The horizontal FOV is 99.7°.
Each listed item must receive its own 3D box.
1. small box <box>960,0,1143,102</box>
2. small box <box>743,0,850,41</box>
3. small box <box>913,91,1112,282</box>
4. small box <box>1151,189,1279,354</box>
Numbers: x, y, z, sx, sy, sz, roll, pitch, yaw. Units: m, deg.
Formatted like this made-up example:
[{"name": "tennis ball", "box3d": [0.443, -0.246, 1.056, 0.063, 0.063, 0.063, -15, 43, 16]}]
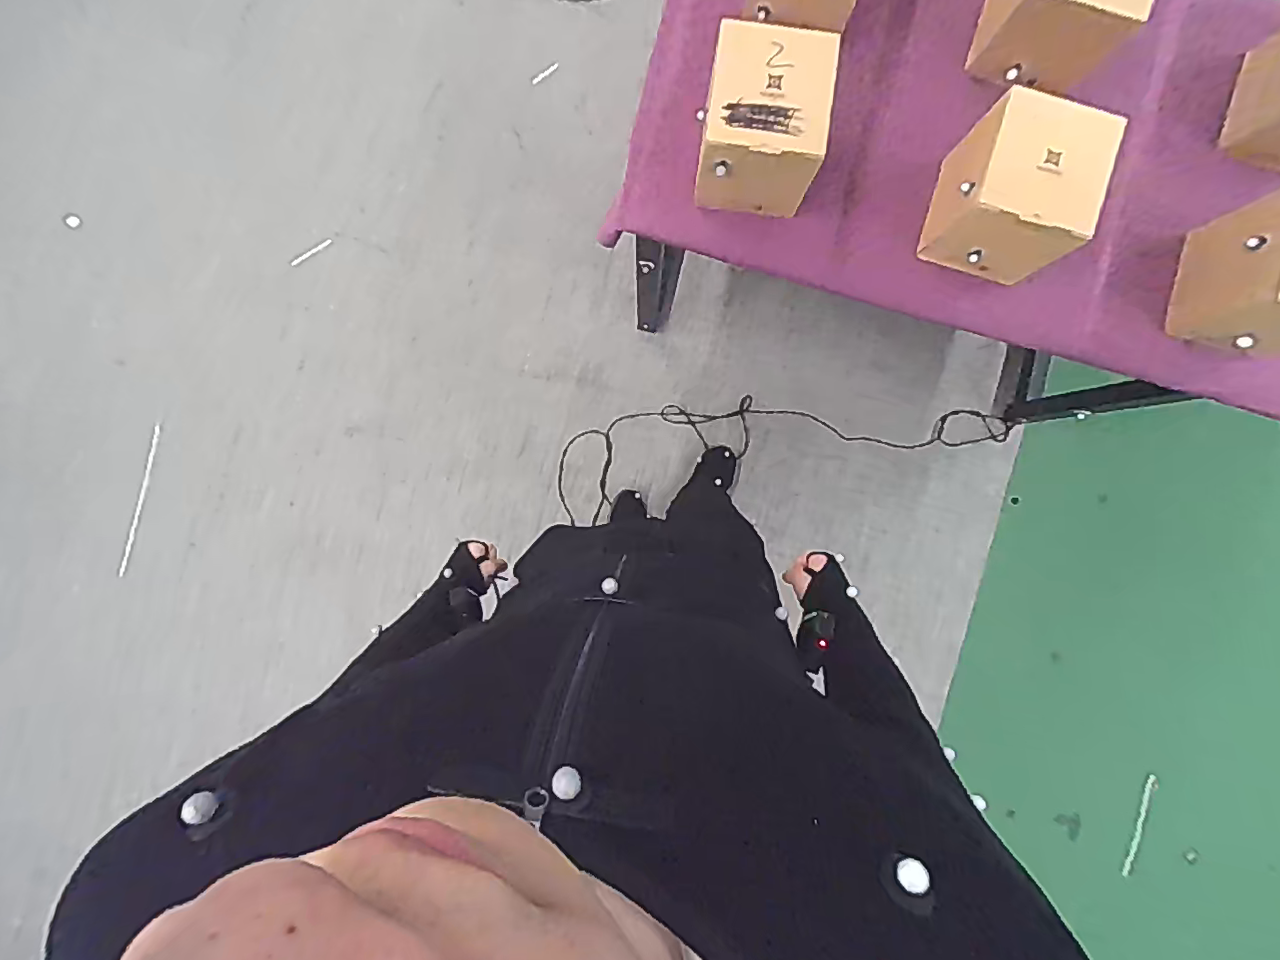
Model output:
[{"name": "small box", "box3d": [0.629, -0.732, 0.823, 0.168, 0.176, 0.179, 18, 92, -1]}, {"name": "small box", "box3d": [0.262, -0.820, 0.810, 0.168, 0.176, 0.179, 16, 92, -2]}, {"name": "small box", "box3d": [0.554, -0.434, 0.829, 0.168, 0.176, 0.179, 16, 90, -2]}, {"name": "small box", "box3d": [0.956, -0.313, 0.835, 0.168, 0.176, 0.179, 14, 91, 0]}]
